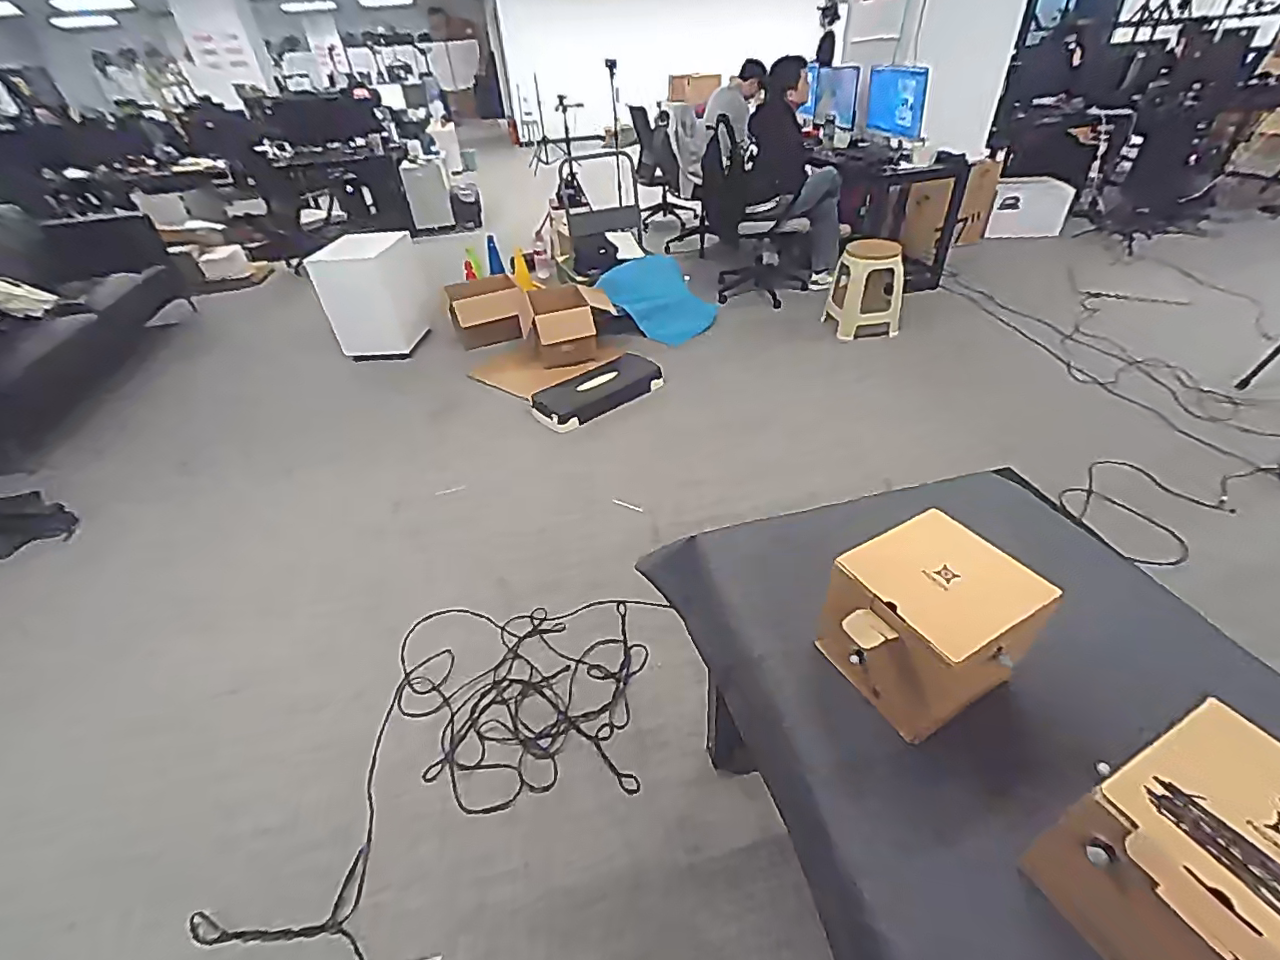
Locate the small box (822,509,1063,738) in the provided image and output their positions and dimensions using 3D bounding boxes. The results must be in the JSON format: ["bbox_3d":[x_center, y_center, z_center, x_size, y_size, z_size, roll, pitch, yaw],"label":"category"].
[{"bbox_3d":[0.348,0.171,0.658,0.179,0.176,0.168,-22,42,-20],"label":"small box"}]
